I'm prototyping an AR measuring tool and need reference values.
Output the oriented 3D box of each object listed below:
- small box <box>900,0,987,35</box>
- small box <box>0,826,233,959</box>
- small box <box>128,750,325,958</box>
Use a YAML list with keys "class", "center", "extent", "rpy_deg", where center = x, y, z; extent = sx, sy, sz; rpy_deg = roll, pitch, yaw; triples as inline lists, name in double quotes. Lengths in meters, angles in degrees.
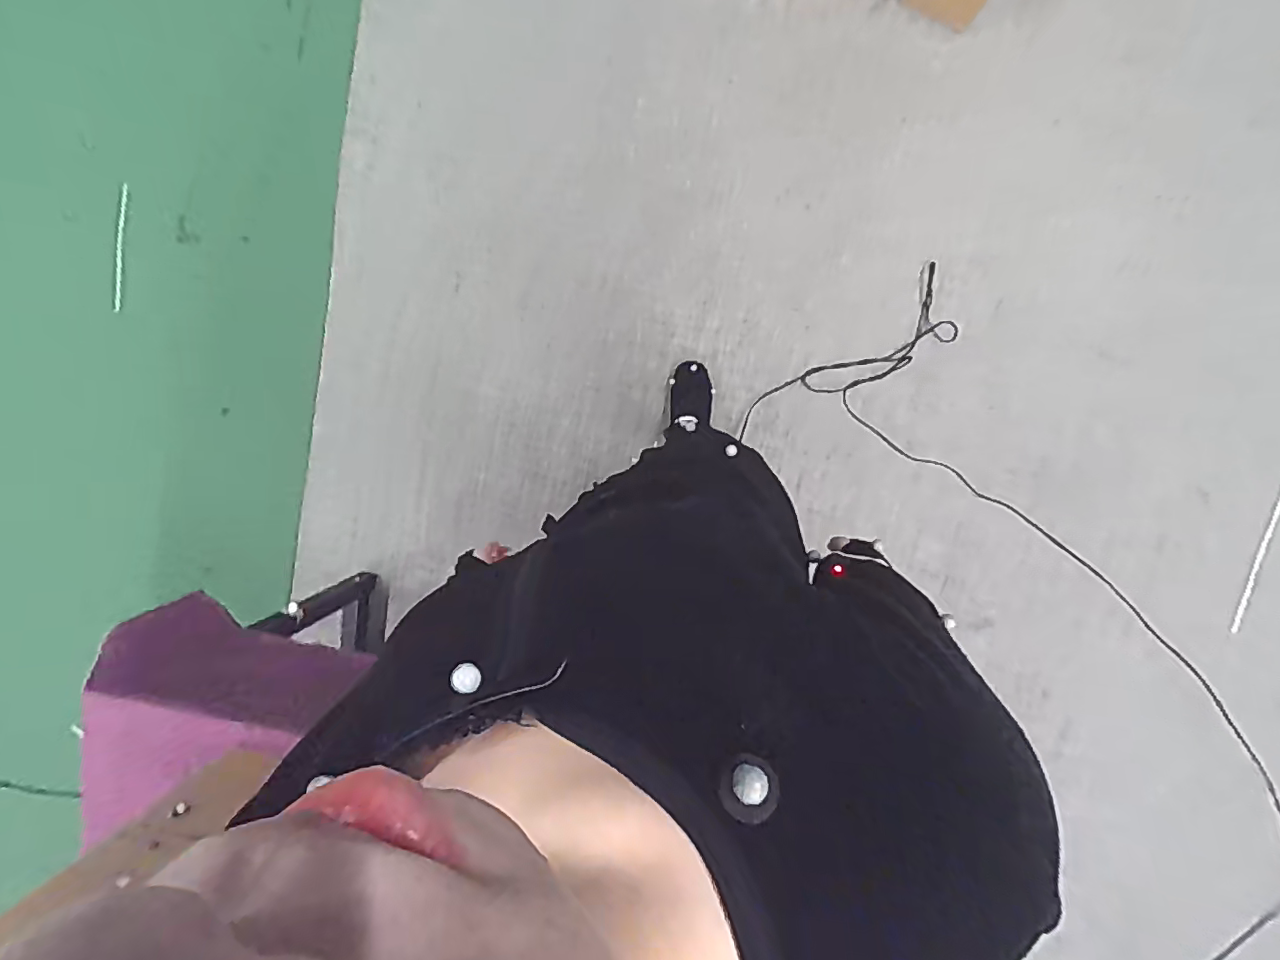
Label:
- class: "small box"
  center: [0.708, -1.137, 1.182]
  extent: [0.179, 0.176, 0.168]
  rpy_deg: [29, 100, 1]
- class: "small box"
  center: [-0.633, 0.562, 0.646]
  extent: [0.168, 0.176, 0.179]
  rpy_deg: [13, 98, 5]
- class: "small box"
  center: [-0.611, 0.541, 0.807]
  extent: [0.179, 0.176, 0.168]
  rpy_deg: [17, 99, 4]
